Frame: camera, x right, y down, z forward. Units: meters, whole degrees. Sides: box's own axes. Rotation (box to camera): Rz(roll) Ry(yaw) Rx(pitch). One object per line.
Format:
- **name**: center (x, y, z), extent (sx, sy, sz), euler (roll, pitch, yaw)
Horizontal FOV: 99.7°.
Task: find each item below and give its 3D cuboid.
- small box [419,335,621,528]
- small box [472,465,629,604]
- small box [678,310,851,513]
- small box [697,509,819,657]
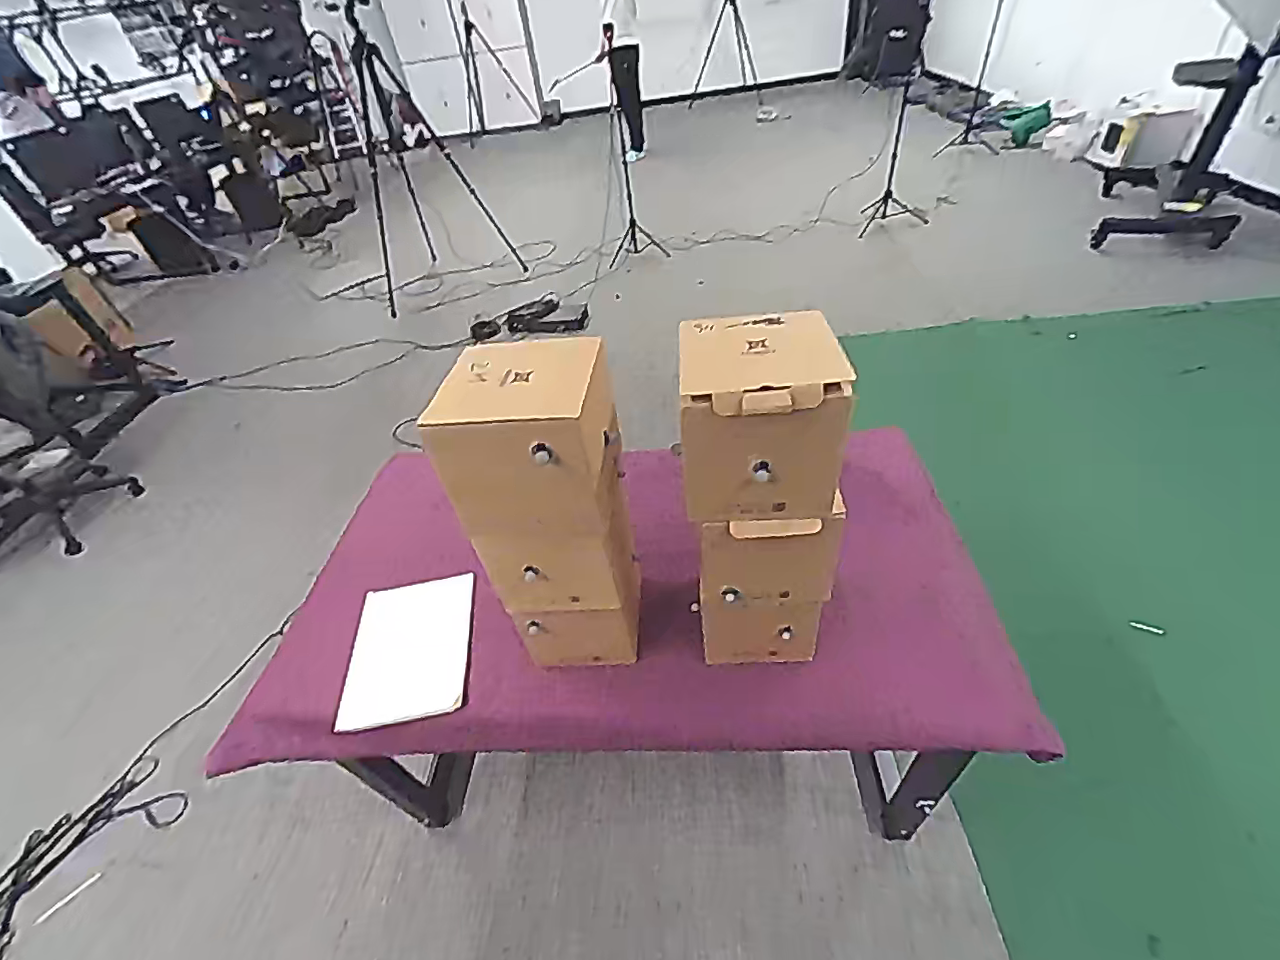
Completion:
- **small box**: center (-0.123, -0.055, 0.648), extent (0.179, 0.176, 0.168), euler (-2, 42, 9)
- **small box**: center (-0.111, 0.062, 0.765), extent (0.168, 0.176, 0.179), euler (-3, 42, 7)
- **small box**: center (0.132, -0.075, 0.627), extent (0.168, 0.176, 0.179), euler (-2, 43, 6)
- **small box**: center (0.177, 0.162, 0.849), extent (0.168, 0.176, 0.179), euler (-2, 42, 6)
